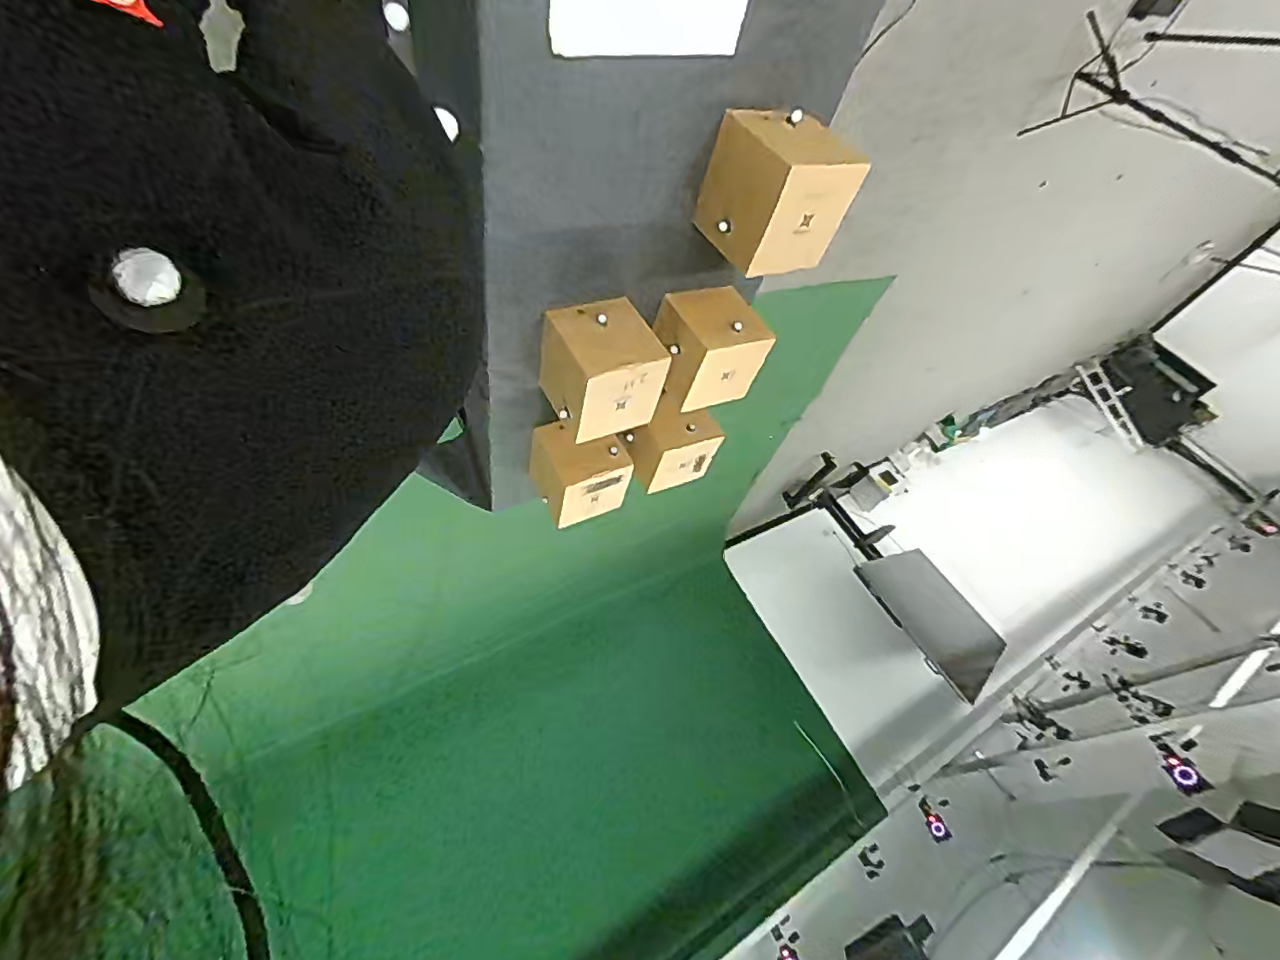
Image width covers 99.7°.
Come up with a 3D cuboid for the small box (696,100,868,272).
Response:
[{"bbox_3d":[0.211,-0.462,0.859,0.168,0.176,0.179,-18,153,-27],"label":"small box"}]

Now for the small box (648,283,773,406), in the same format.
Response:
[{"bbox_3d":[0.129,-0.280,1.105,0.179,0.176,0.168,-18,151,-28],"label":"small box"}]

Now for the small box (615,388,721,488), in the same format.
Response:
[{"bbox_3d":[0.063,-0.111,1.332,0.179,0.176,0.168,-17,151,-28],"label":"small box"}]

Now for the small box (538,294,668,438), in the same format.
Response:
[{"bbox_3d":[-0.077,-0.209,0.991,0.168,0.176,0.179,-20,152,-26],"label":"small box"}]
